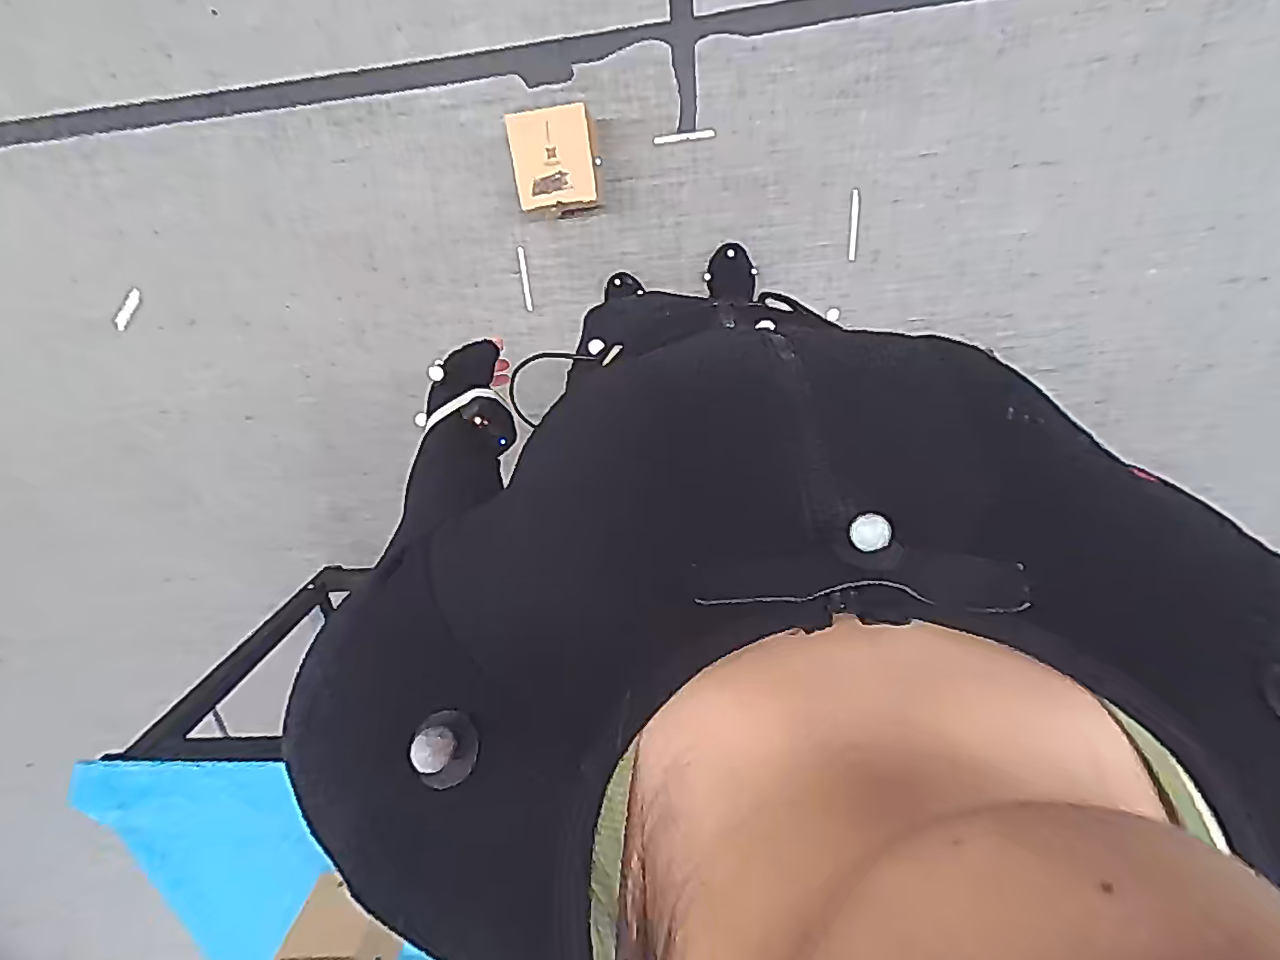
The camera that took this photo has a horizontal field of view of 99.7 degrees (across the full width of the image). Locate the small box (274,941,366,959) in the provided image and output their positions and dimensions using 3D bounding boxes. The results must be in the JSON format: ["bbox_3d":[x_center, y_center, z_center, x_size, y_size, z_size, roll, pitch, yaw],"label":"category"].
[{"bbox_3d":[-0.614,1.003,1.003,0.168,0.176,0.179,-7,112,8],"label":"small box"}]

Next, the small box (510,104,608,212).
[{"bbox_3d":[-0.168,-0.694,1.187,0.168,0.176,0.179,-4,112,6],"label":"small box"}]

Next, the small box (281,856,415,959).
[{"bbox_3d":[-0.608,0.946,1.155,0.168,0.176,0.179,-4,113,6],"label":"small box"}]
